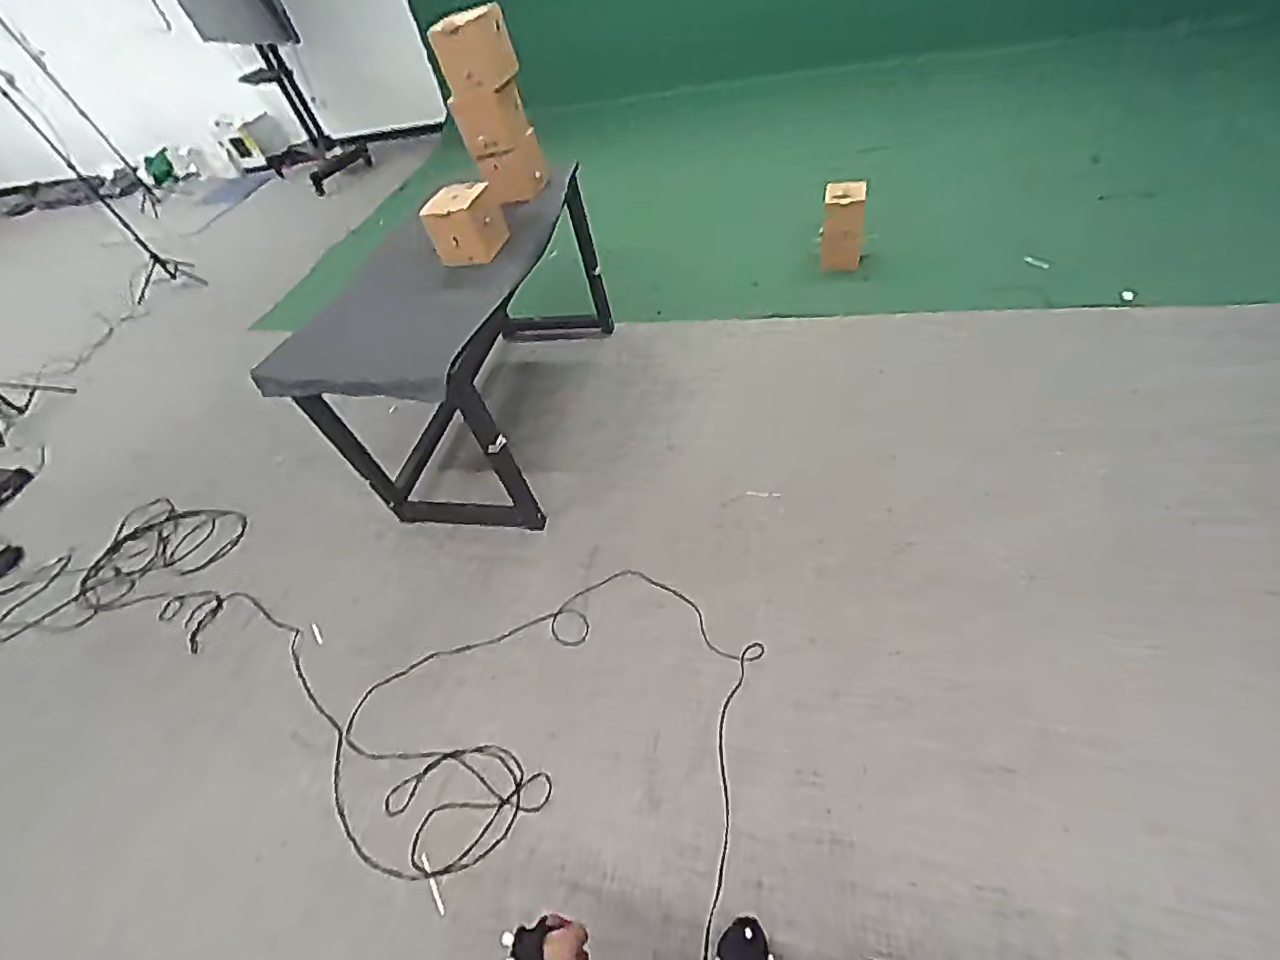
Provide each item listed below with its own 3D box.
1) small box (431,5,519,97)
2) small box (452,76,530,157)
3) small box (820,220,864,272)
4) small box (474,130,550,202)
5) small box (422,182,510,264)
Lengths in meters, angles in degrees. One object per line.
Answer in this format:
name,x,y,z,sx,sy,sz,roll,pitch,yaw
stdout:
small box,-0.491,-1.303,1.647,0.168,0.176,0.179,3,52,20
small box,-0.479,-1.190,1.770,0.168,0.176,0.179,-1,52,16
small box,0.952,-1.101,2.548,0.179,0.176,0.168,6,53,18
small box,-0.443,-1.097,1.898,0.179,0.176,0.168,6,54,20
small box,-0.523,-0.781,1.659,0.168,0.176,0.179,3,53,17
